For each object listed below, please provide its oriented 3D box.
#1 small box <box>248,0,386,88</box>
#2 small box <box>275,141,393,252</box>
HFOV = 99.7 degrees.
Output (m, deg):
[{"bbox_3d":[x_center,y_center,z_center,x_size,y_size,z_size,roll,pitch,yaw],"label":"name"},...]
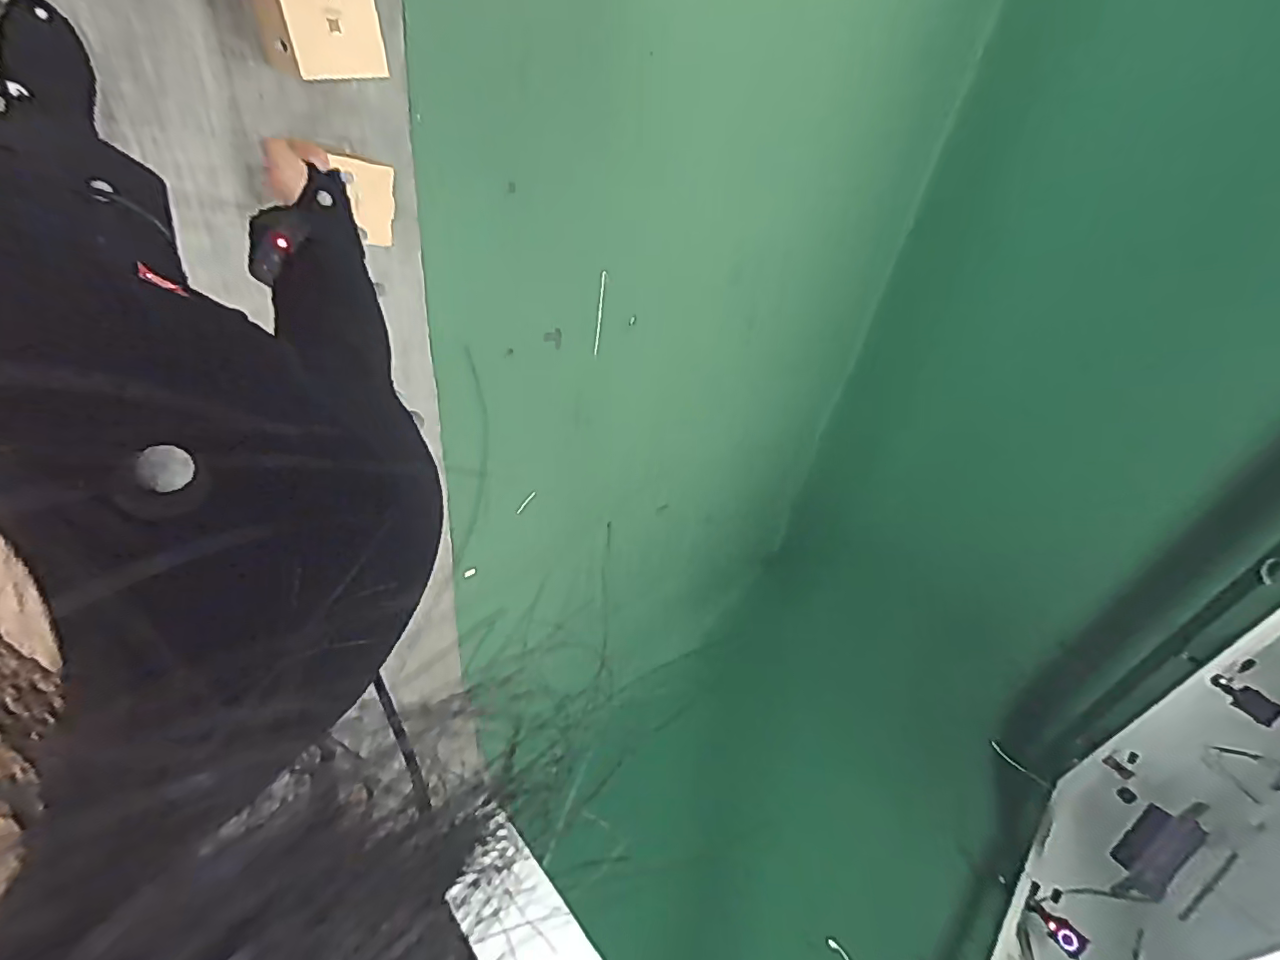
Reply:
[{"bbox_3d":[-0.610,-0.855,1.012,0.168,0.176,0.179,-30,142,-33],"label":"small box"},{"bbox_3d":[-0.664,-0.614,1.175,0.179,0.176,0.168,-15,133,-45],"label":"small box"}]
